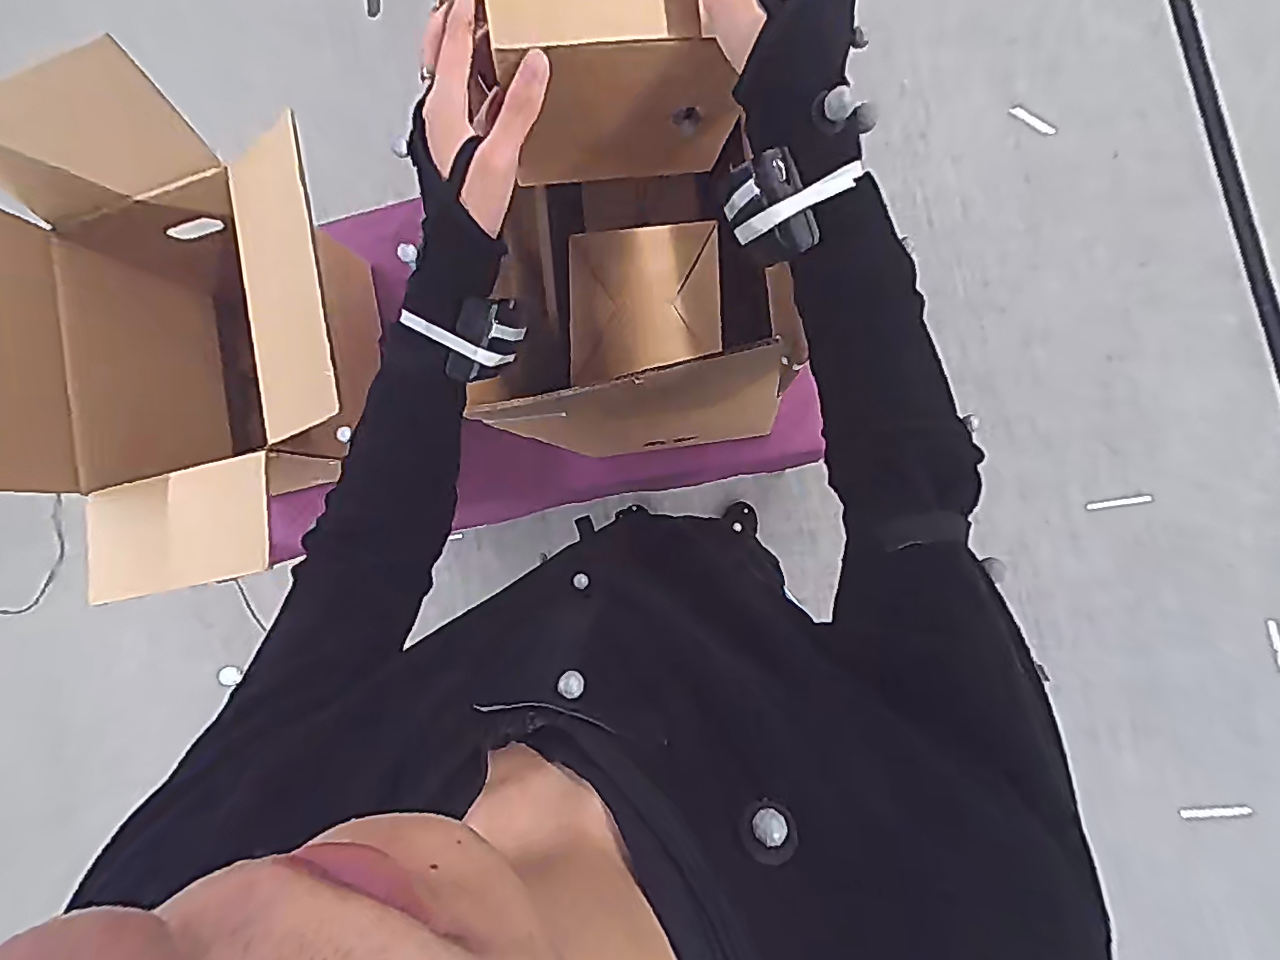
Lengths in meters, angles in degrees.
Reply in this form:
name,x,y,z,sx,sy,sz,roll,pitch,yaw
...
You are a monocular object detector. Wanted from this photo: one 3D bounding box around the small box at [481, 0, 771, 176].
name,x,y,z,sx,sy,sz,roll,pitch,yaw
small box,-0.024,-0.350,0.396,0.179,0.176,0.168,-8,94,-7
